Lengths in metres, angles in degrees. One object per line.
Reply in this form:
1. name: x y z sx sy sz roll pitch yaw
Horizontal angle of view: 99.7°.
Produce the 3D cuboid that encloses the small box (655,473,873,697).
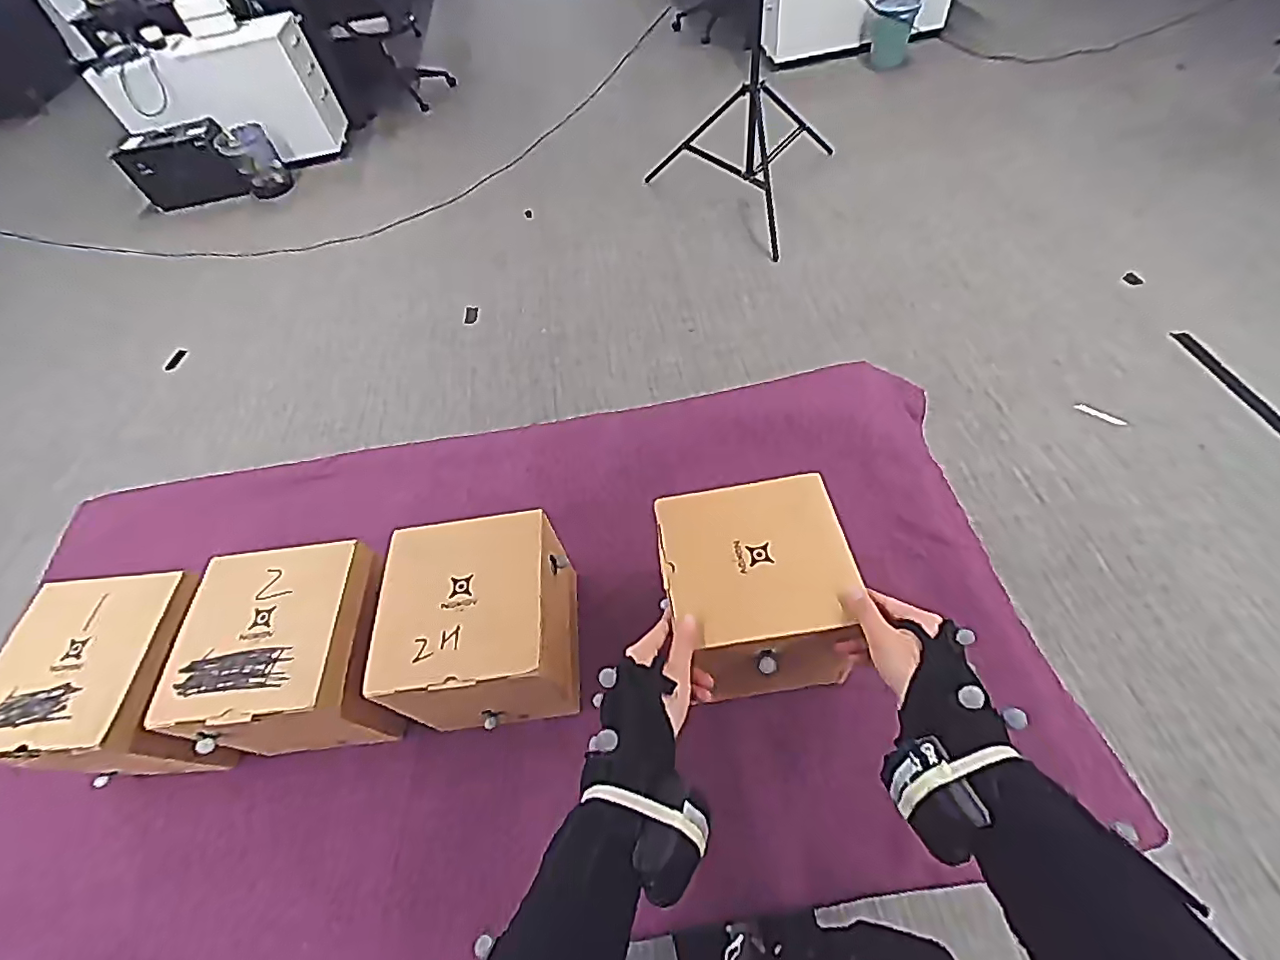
1. small box: 0.119 0.117 0.576 0.179 0.176 0.168 -10 53 3
